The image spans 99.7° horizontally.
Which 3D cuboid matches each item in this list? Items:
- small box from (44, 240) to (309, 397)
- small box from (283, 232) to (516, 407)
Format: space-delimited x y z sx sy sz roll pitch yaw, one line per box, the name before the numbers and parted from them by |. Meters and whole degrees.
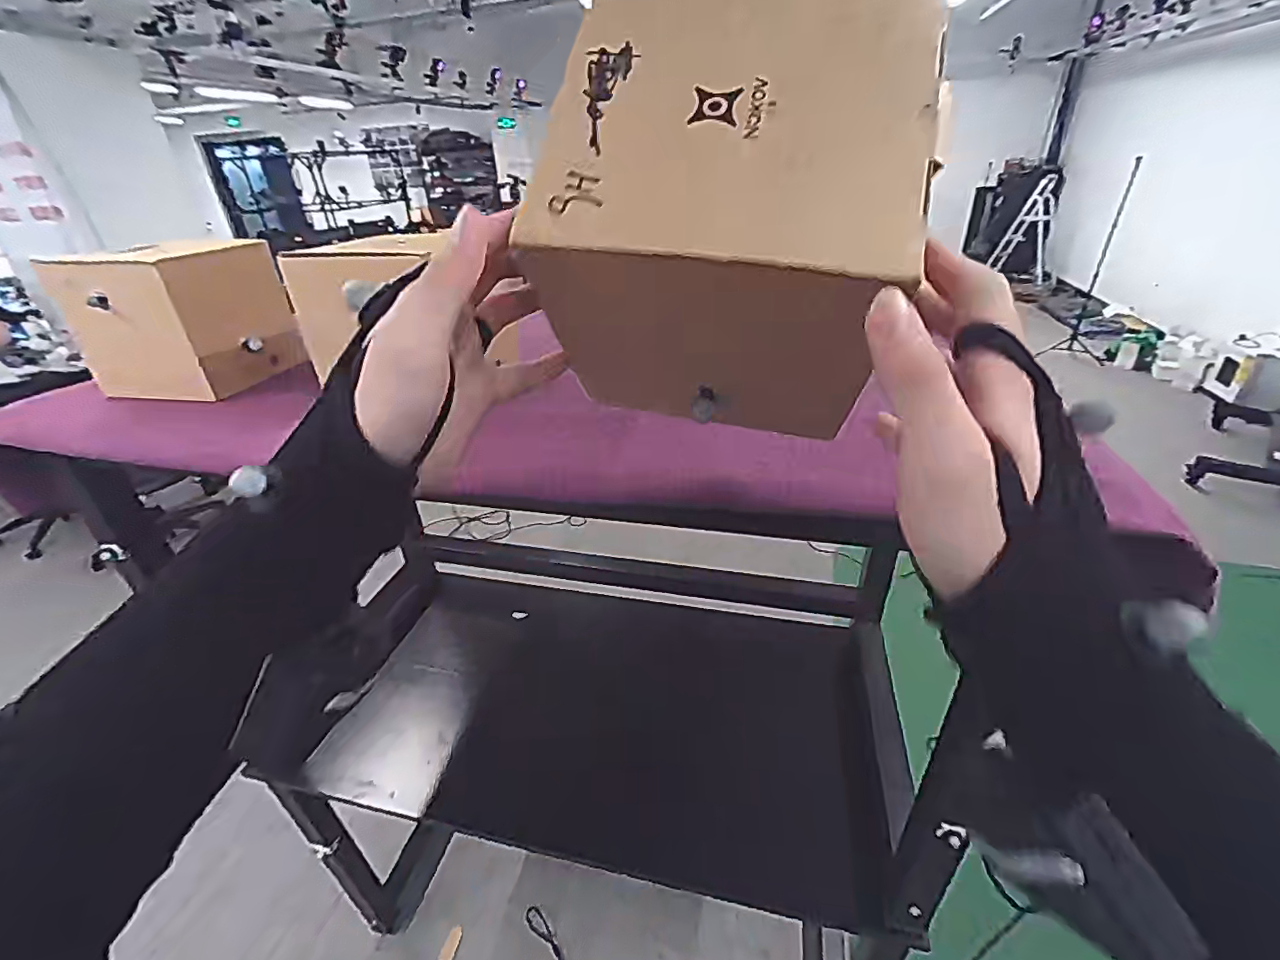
small box | -0.591 -0.216 0.716 0.179 0.176 0.168 4 31 10
small box | -0.267 -0.195 0.649 0.179 0.176 0.168 5 30 14
